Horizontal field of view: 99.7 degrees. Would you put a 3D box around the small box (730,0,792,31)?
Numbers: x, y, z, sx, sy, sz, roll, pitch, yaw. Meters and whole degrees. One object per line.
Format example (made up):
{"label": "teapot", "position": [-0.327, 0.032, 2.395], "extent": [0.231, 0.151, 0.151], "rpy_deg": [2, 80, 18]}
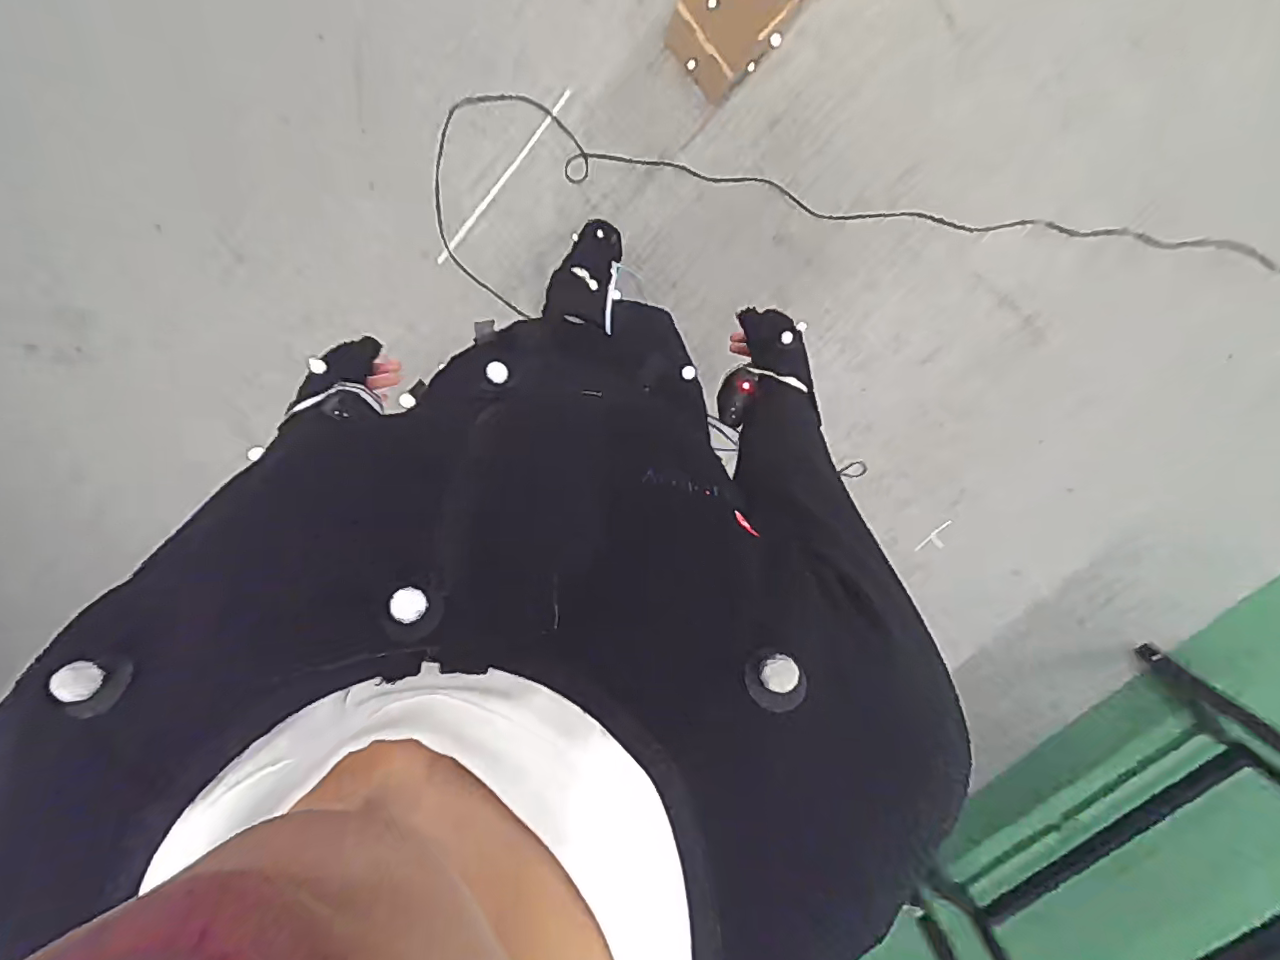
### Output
{"label": "small box", "position": [0.197, -0.820, 0.786], "extent": [0.168, 0.176, 0.179], "rpy_deg": [-43, 108, 11]}

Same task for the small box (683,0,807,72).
{"label": "small box", "position": [0.192, -0.870, 0.941], "extent": [0.168, 0.176, 0.179], "rpy_deg": [-43, 108, 11]}

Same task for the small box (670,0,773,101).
{"label": "small box", "position": [0.176, -0.922, 1.096], "extent": [0.179, 0.176, 0.168], "rpy_deg": [-43, 107, 11]}
